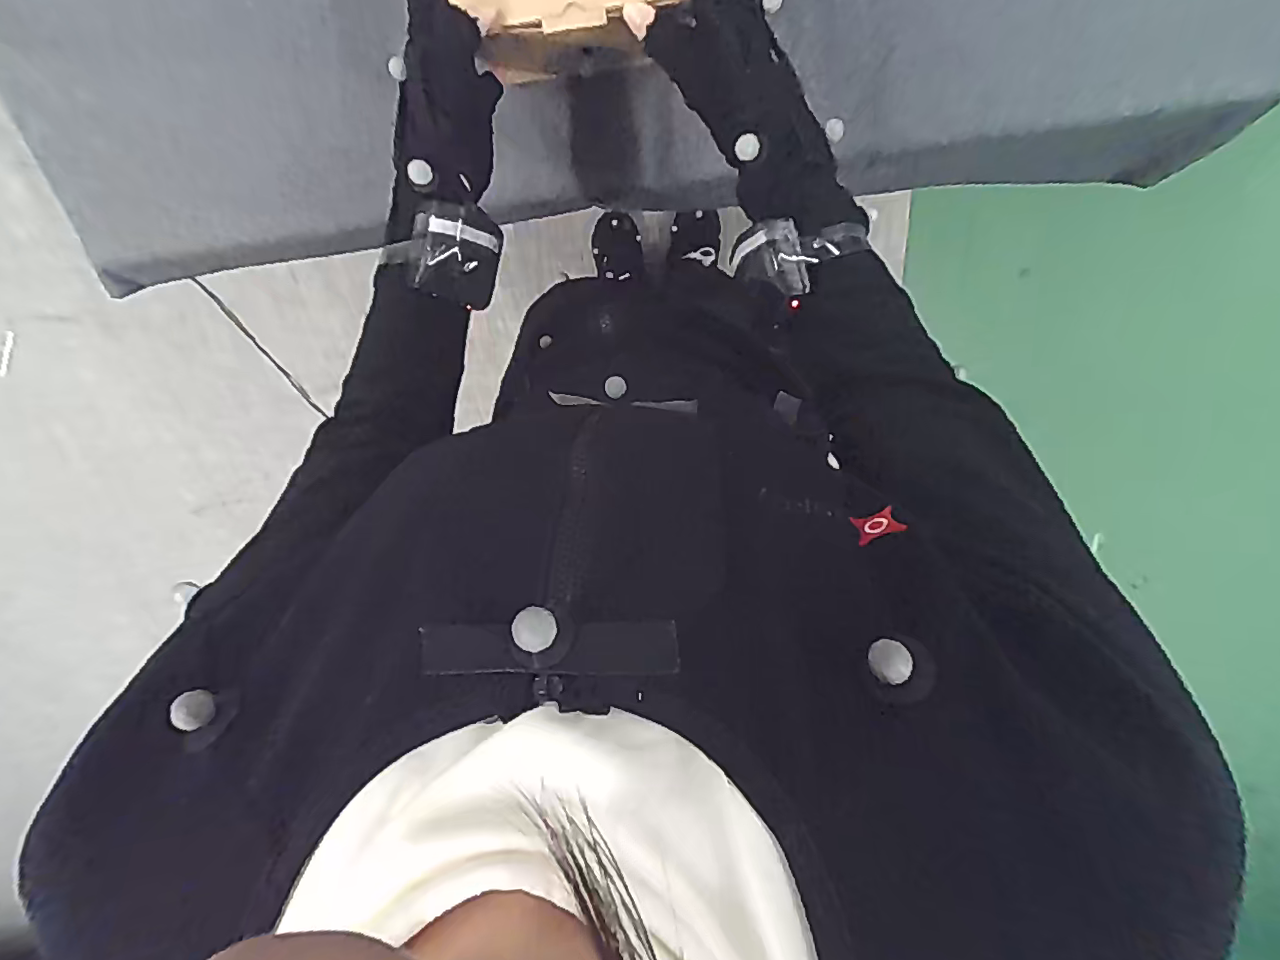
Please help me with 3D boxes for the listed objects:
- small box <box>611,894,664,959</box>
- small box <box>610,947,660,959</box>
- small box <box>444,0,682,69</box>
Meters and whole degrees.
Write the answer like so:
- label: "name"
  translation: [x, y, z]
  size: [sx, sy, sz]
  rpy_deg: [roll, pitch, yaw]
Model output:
- label: "small box"
  translation: [-0.007, 1.669, 2.003]
  size: [0.179, 0.176, 0.168]
  rpy_deg: [-5, 116, 4]
- label: "small box"
  translation: [-0.016, 1.746, 1.858]
  size: [0.179, 0.176, 0.168]
  rpy_deg: [-6, 116, 4]
- label: "small box"
  translation: [-0.058, -0.425, 0.397]
  size: [0.168, 0.176, 0.179]
  rpy_deg: [-6, 118, 3]
